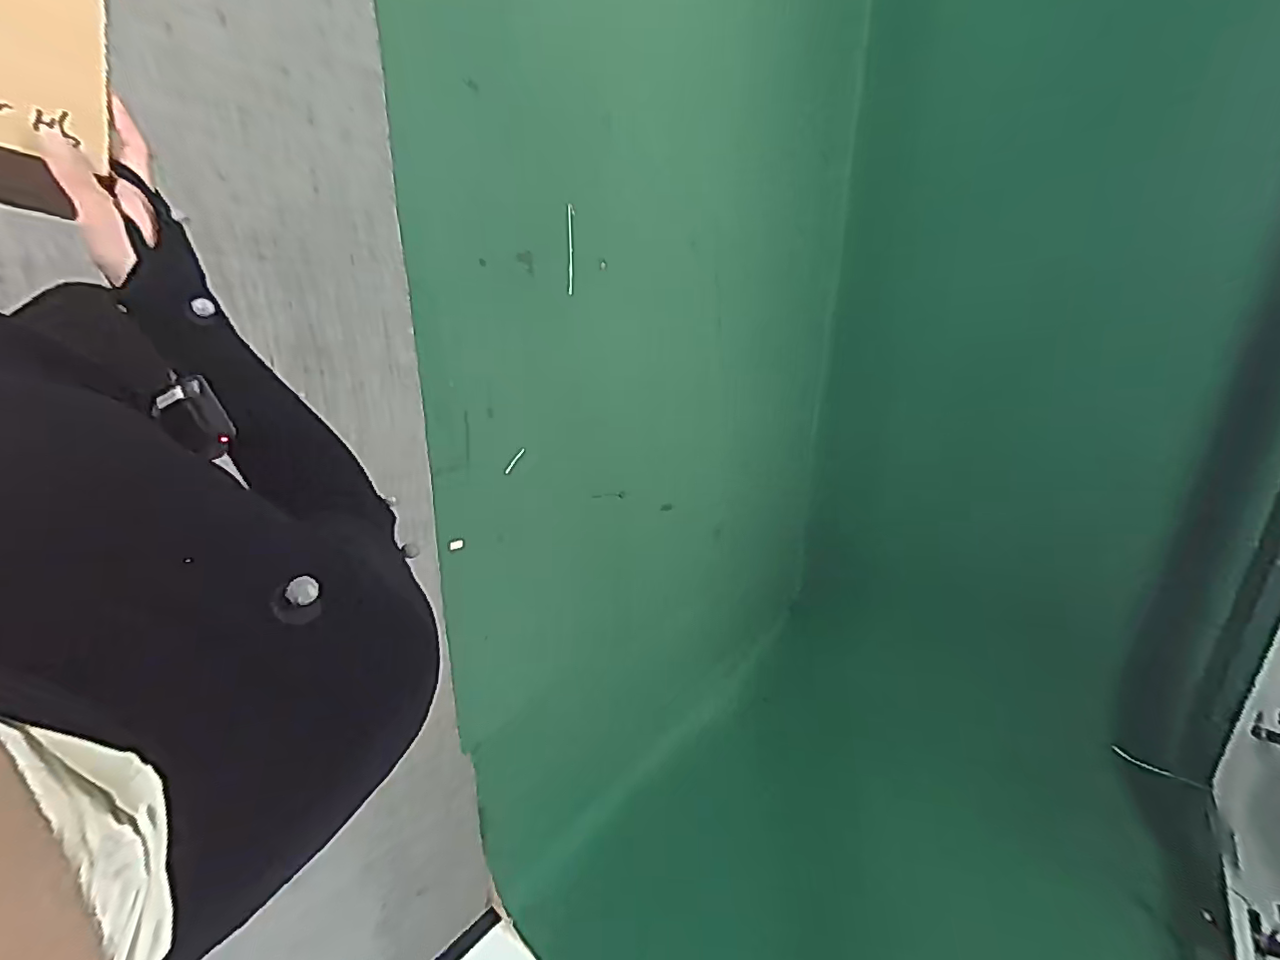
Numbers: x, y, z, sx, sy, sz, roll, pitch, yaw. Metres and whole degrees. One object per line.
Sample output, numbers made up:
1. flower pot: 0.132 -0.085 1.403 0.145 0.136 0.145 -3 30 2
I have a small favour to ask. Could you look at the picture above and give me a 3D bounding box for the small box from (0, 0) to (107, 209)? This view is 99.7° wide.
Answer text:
1. small box: -0.534 -0.337 0.410 0.168 0.176 0.179 -2 97 -52
